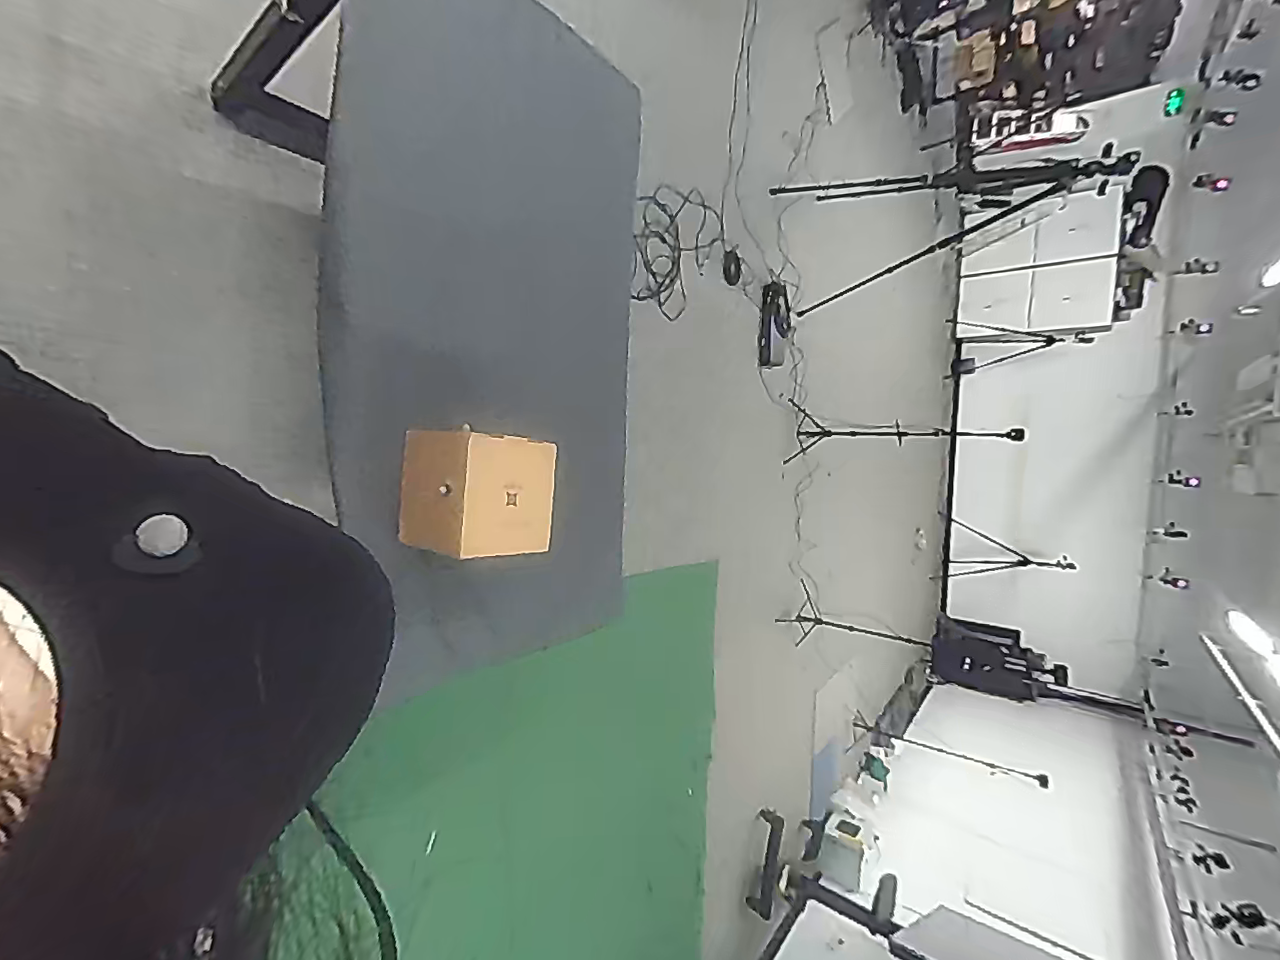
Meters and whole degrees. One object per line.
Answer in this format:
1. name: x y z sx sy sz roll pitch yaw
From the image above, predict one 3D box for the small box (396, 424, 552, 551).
1. small box: -0.258 0.009 0.840 0.168 0.176 0.179 3 92 -53
